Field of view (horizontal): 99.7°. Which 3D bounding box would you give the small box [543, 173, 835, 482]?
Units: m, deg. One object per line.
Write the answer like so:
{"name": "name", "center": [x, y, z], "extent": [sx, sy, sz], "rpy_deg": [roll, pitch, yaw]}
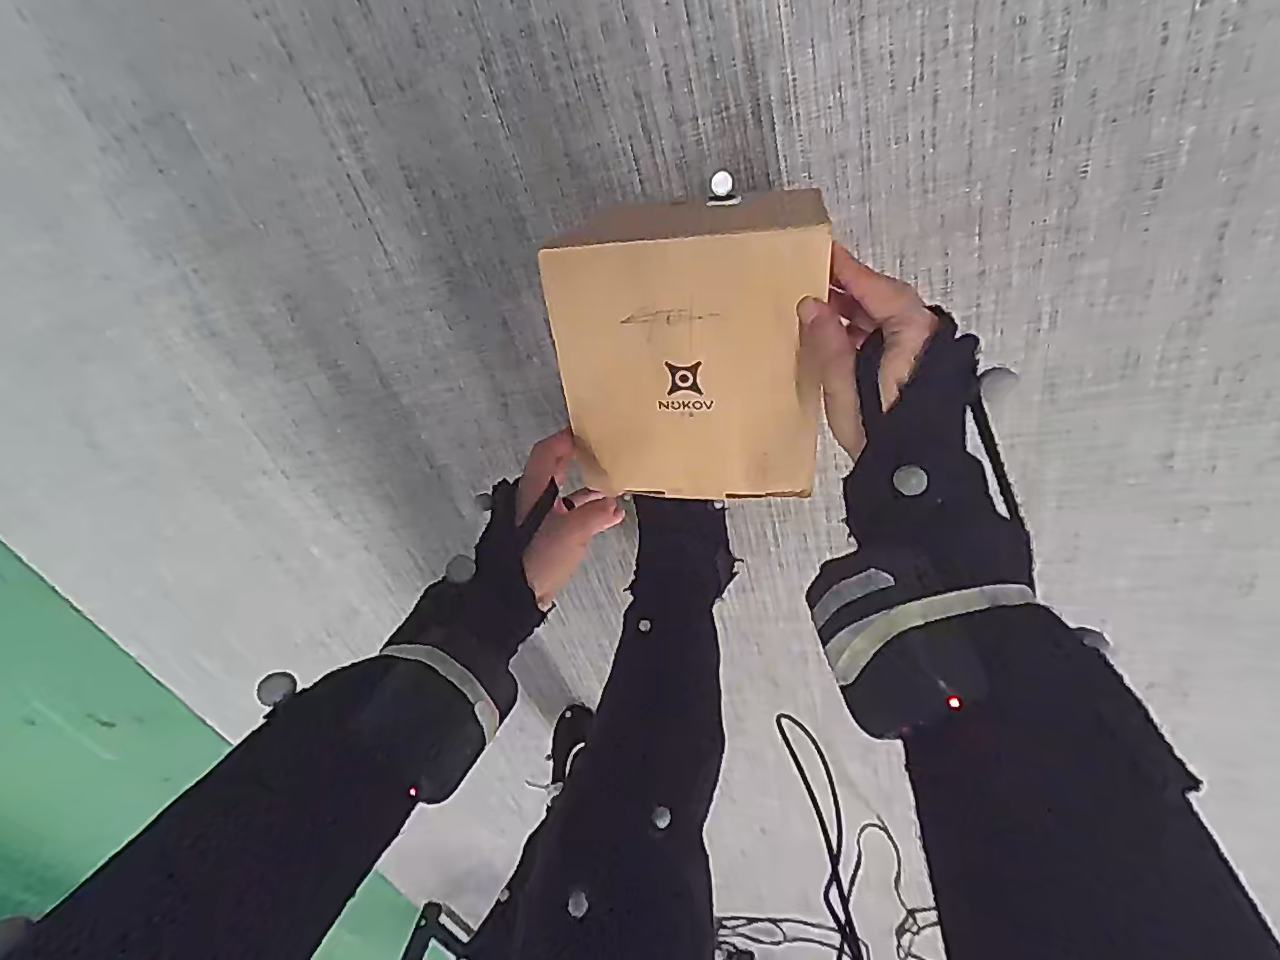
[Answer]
{"name": "small box", "center": [0.047, -0.117, 0.407], "extent": [0.168, 0.176, 0.179], "rpy_deg": [1, 123, 13]}
